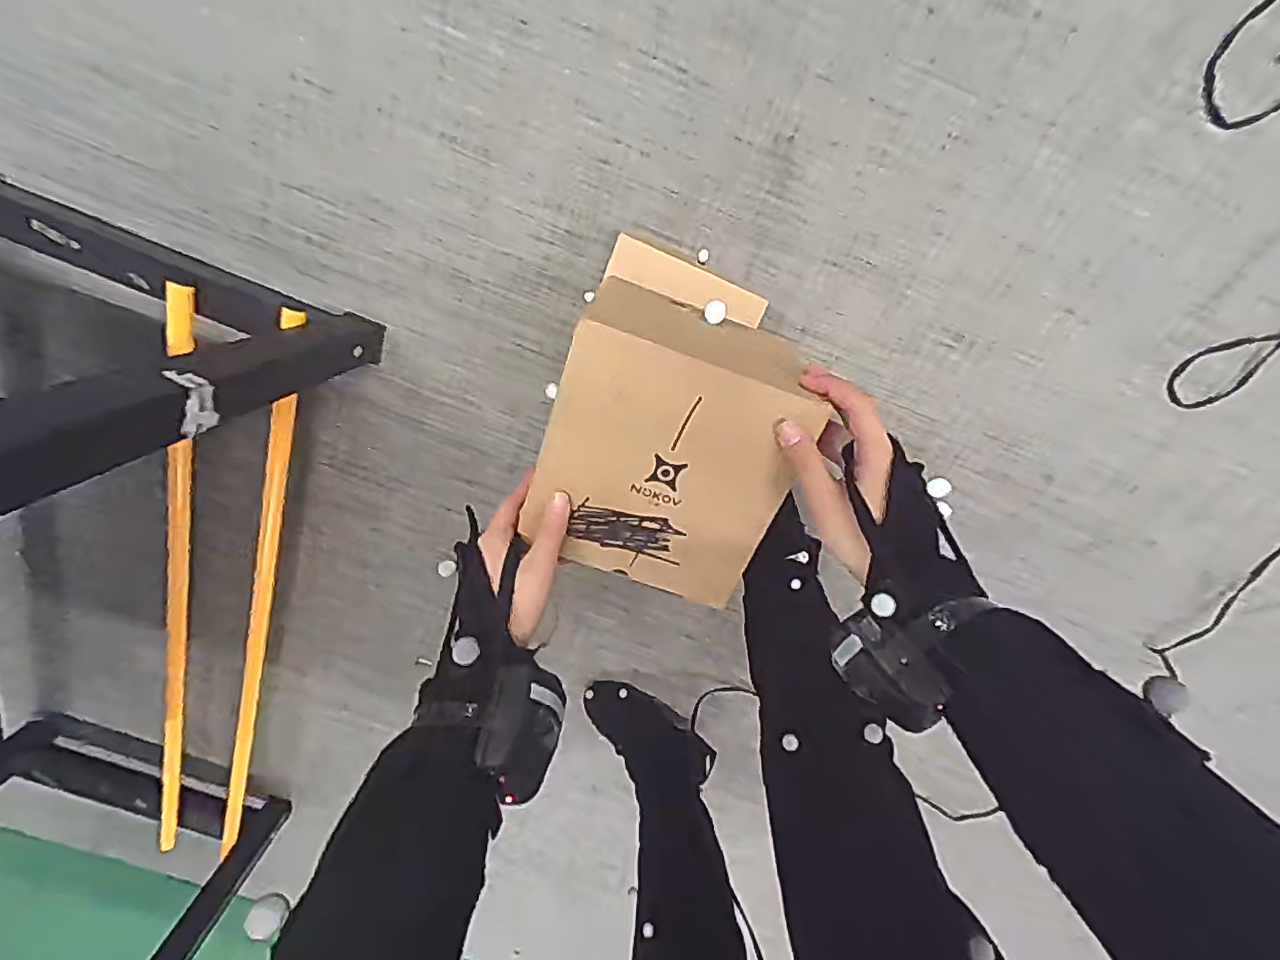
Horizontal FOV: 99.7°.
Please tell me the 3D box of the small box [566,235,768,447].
[{"bbox_3d":[0.029,-0.171,0.646,0.168,0.176,0.179,23,113,-5],"label":"small box"}]
